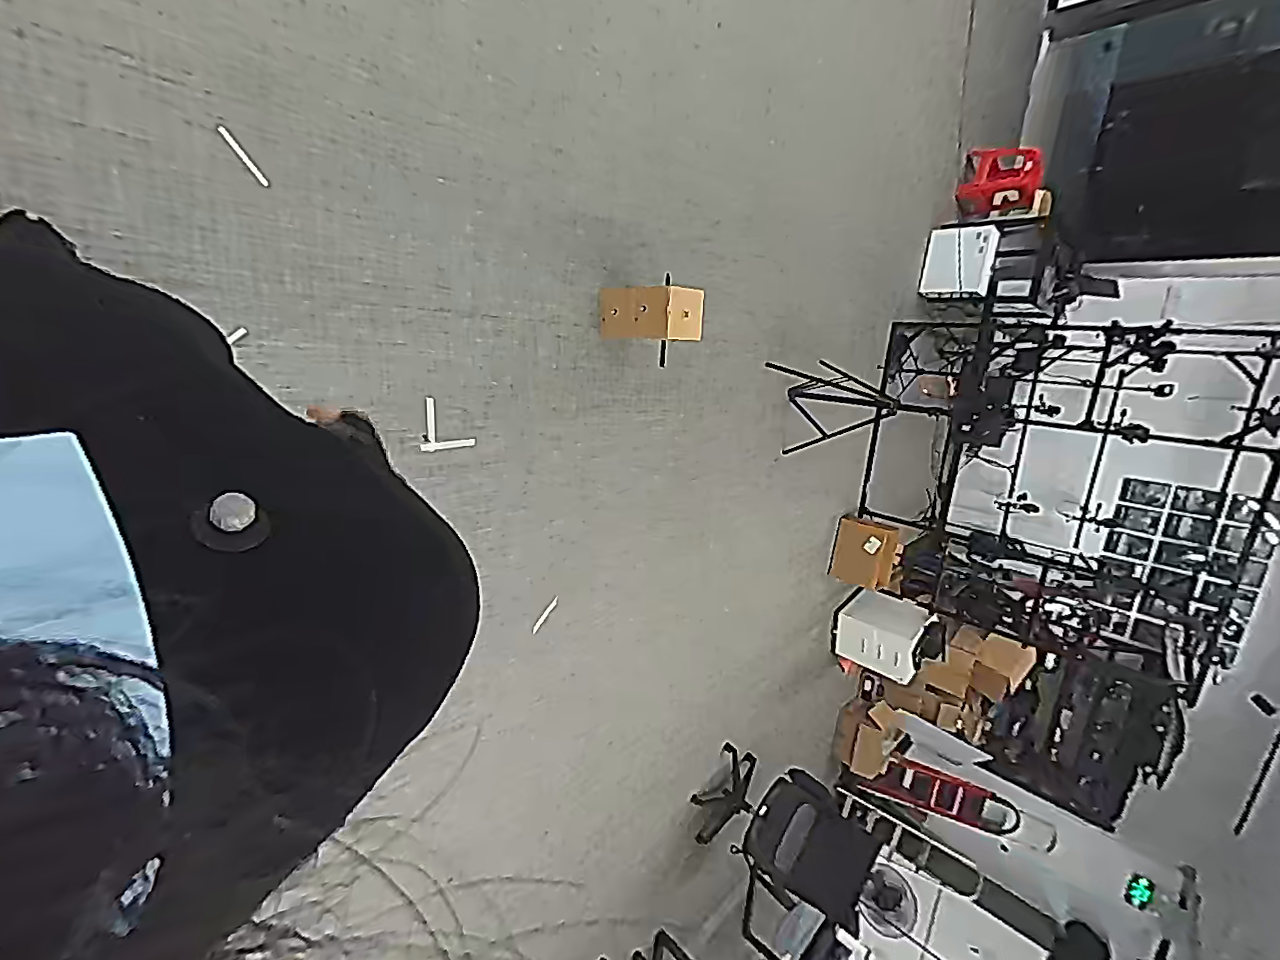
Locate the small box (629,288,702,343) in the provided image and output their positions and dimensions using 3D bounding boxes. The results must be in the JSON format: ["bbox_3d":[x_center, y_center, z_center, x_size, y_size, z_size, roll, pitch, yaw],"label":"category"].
[{"bbox_3d":[0.087,-0.554,1.826,0.179,0.176,0.168,-12,111,-44],"label":"small box"}]

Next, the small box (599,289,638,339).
[{"bbox_3d":[-0.031,-0.590,1.933,0.179,0.176,0.168,-15,114,-45],"label":"small box"}]
